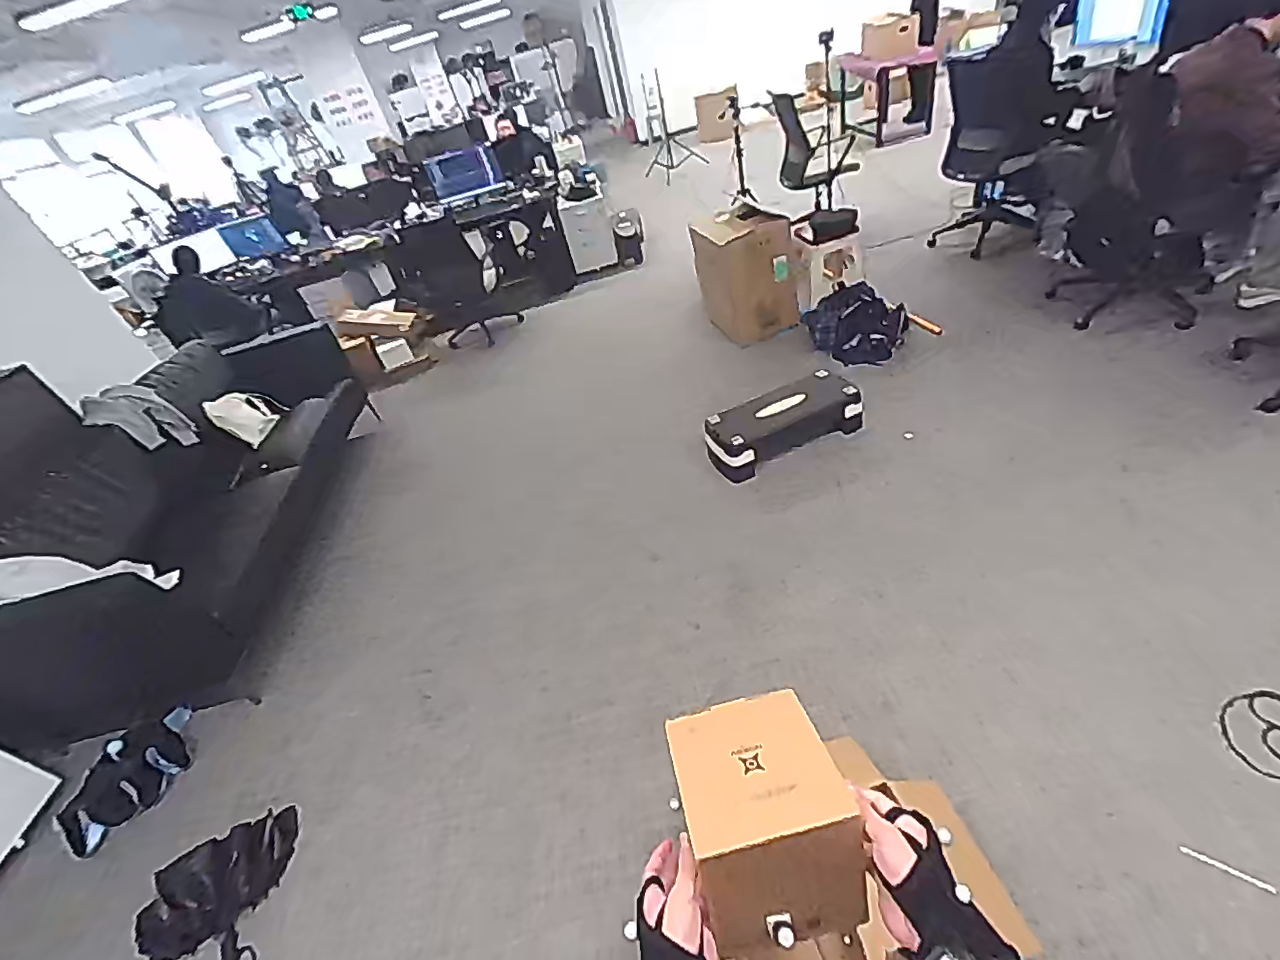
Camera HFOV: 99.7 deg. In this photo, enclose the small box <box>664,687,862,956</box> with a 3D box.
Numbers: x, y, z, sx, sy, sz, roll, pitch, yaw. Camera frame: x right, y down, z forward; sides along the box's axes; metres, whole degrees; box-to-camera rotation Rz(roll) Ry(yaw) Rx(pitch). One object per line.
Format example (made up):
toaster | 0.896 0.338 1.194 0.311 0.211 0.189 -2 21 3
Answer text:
small box | 0.132 0.375 0.613 0.168 0.176 0.179 -14 21 -3
